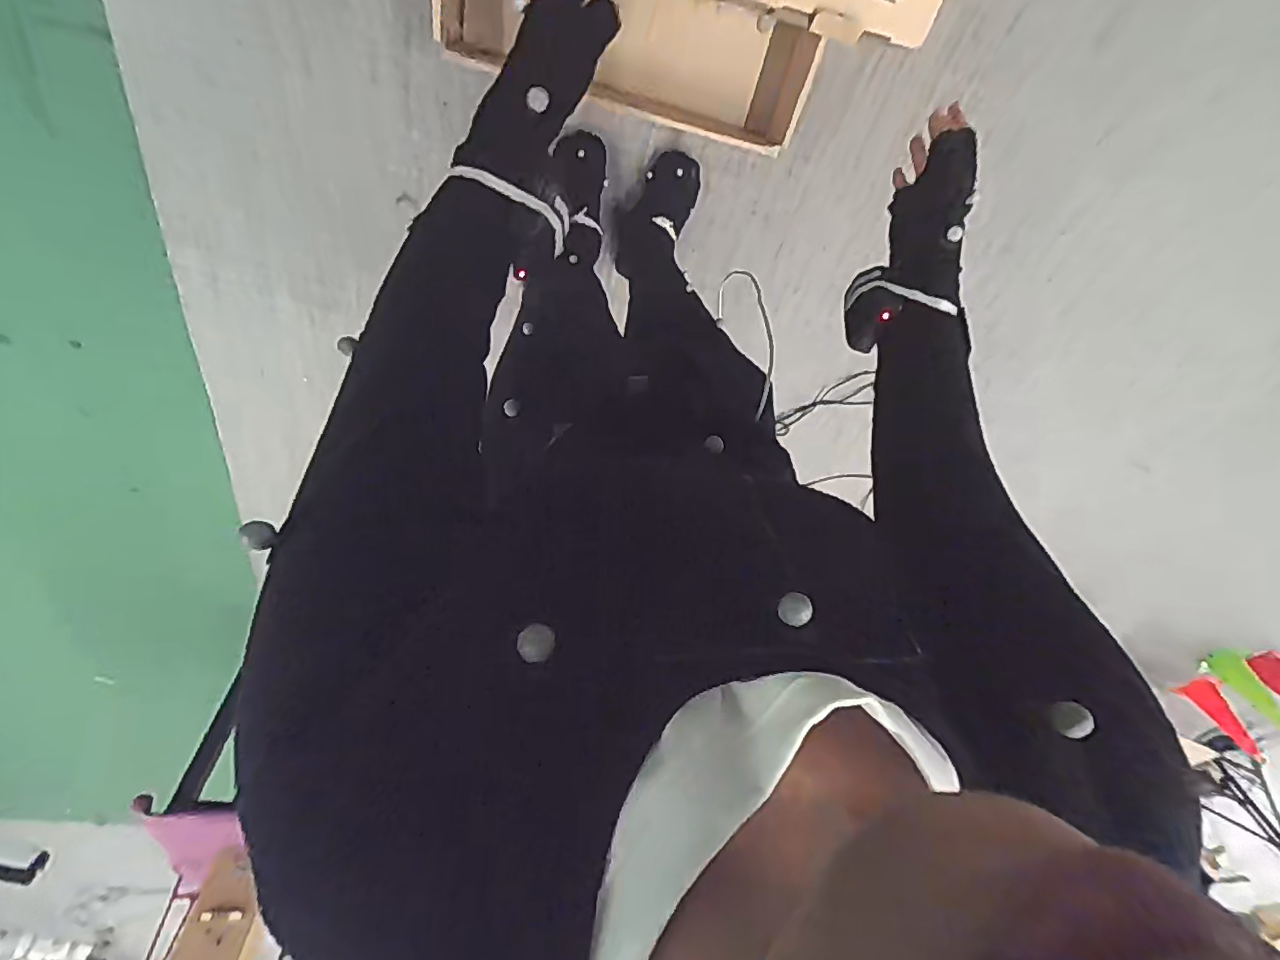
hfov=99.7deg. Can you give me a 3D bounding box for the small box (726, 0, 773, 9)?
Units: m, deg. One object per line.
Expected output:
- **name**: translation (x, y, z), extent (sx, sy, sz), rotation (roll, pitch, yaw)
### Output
- **small box**: translation (0.155, -0.852, 0.828), extent (0.168, 0.176, 0.179), rotation (7, 130, -8)

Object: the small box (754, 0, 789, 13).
- **small box**: translation (0.177, -0.731, 0.692), extent (0.168, 0.176, 0.179), rotation (9, 130, -11)

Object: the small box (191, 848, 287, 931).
- **small box**: translation (-1.183, 1.224, 1.613), extent (0.168, 0.176, 0.179), rotation (8, 130, -13)

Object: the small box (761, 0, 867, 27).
- **small box**: translation (0.181, -0.630, 0.586), extent (0.168, 0.176, 0.179), rotation (9, 130, -13)

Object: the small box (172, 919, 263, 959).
- **small box**: translation (-1.176, 1.334, 1.493), extent (0.168, 0.176, 0.179), rotation (9, 129, -13)
